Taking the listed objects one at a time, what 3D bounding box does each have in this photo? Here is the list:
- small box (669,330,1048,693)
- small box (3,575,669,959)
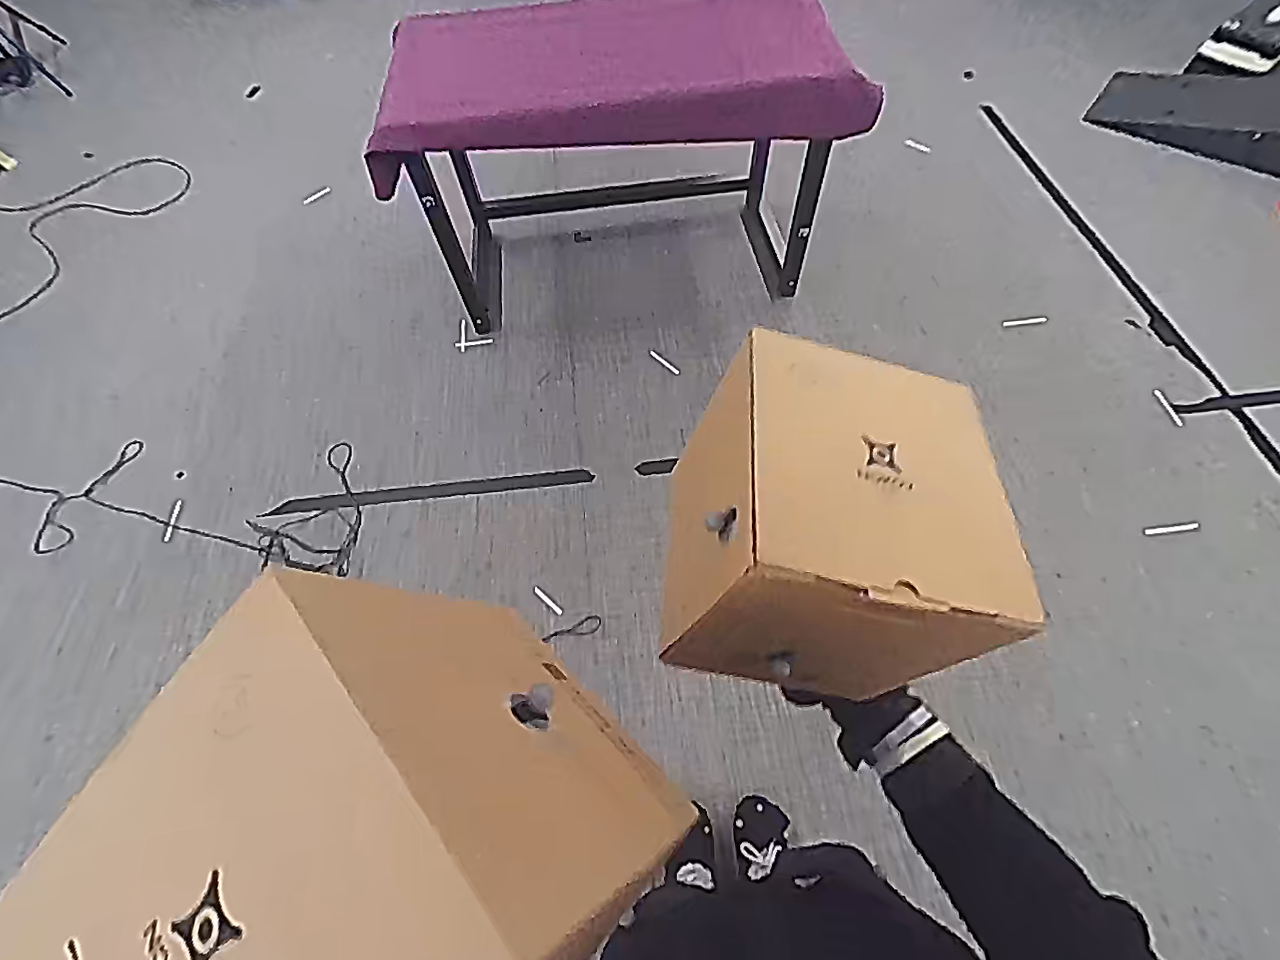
[{"bbox_3d":[0.125,0.033,0.383,0.168,0.176,0.179,13,56,-8],"label":"small box"},{"bbox_3d":[-0.106,0.170,0.244,0.168,0.176,0.179,36,88,29],"label":"small box"}]
